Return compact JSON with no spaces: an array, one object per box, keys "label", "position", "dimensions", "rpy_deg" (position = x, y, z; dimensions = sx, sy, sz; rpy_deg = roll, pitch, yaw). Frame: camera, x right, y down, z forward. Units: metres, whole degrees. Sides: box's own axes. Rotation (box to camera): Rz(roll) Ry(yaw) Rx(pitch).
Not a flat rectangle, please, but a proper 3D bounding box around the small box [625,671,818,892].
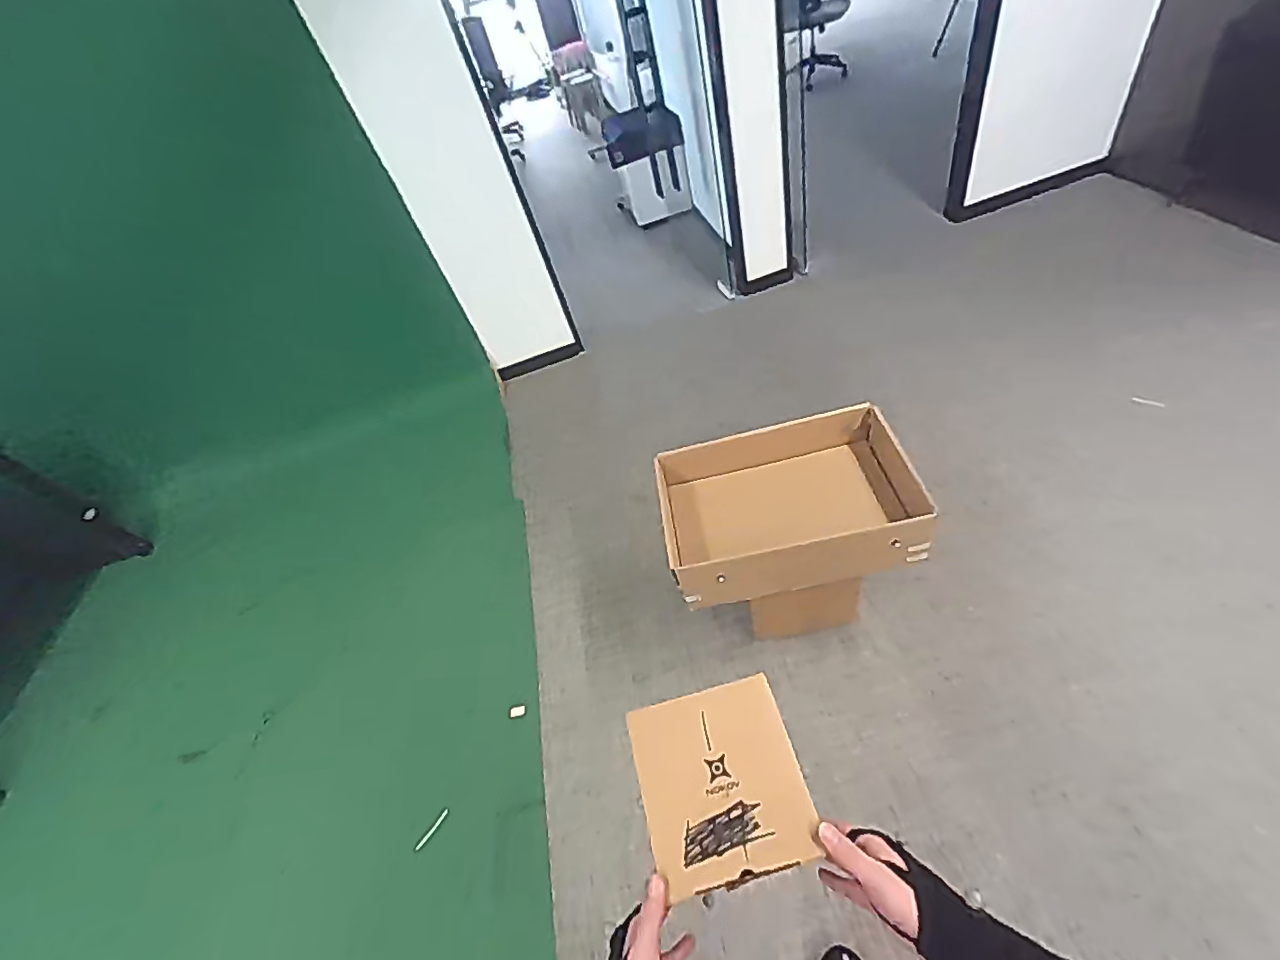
[{"label":"small box","position":[0.092,0.349,0.629],"dimensions":[0.168,0.176,0.179],"rpy_deg":[-16,53,1]}]
